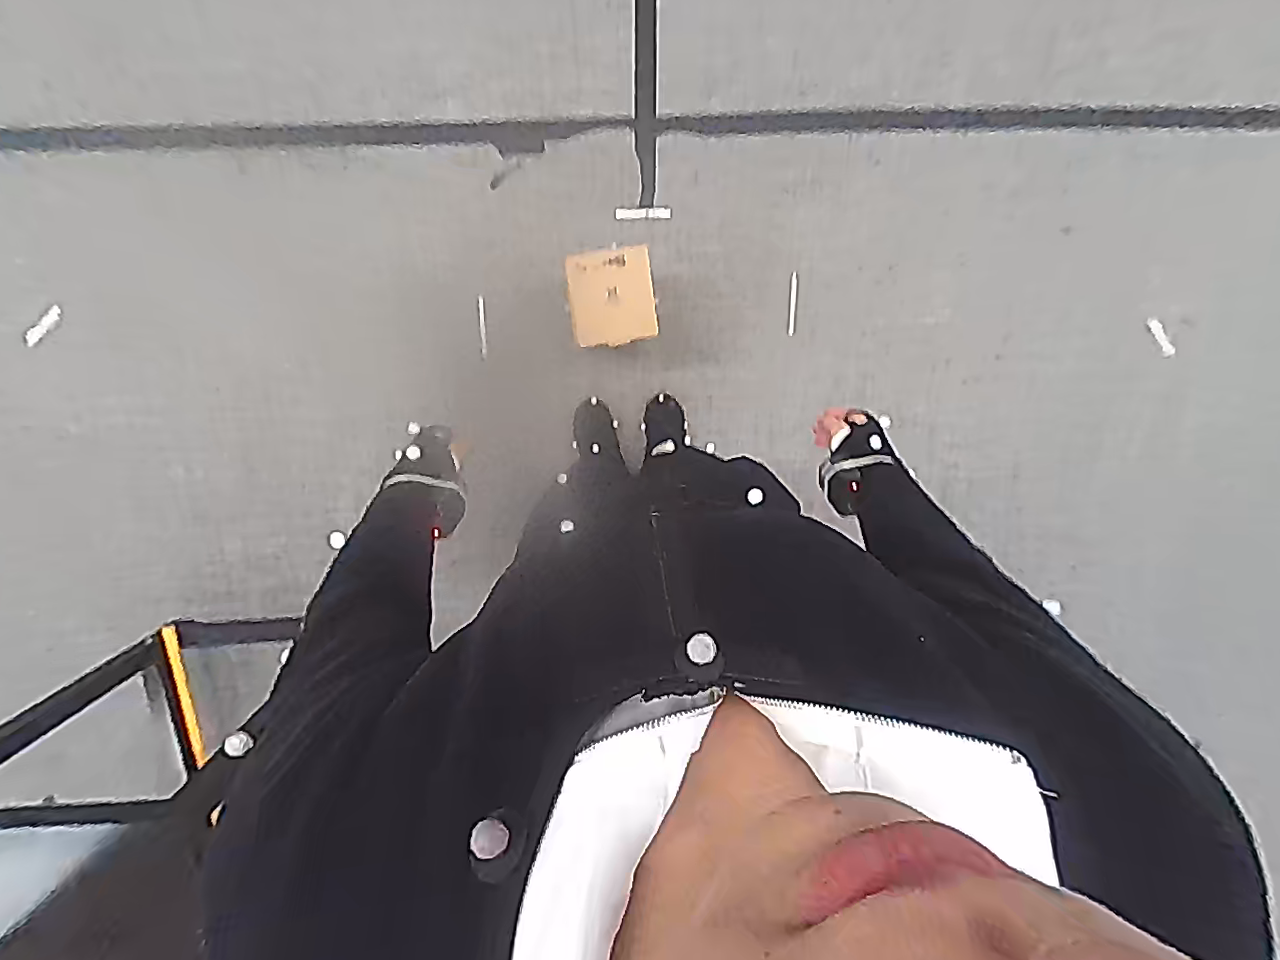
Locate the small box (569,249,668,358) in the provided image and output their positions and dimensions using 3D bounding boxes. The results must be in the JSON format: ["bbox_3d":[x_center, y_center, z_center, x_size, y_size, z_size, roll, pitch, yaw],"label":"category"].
[{"bbox_3d":[-0.038,-0.344,1.070,0.168,0.176,0.179,-9,105,0],"label":"small box"}]
